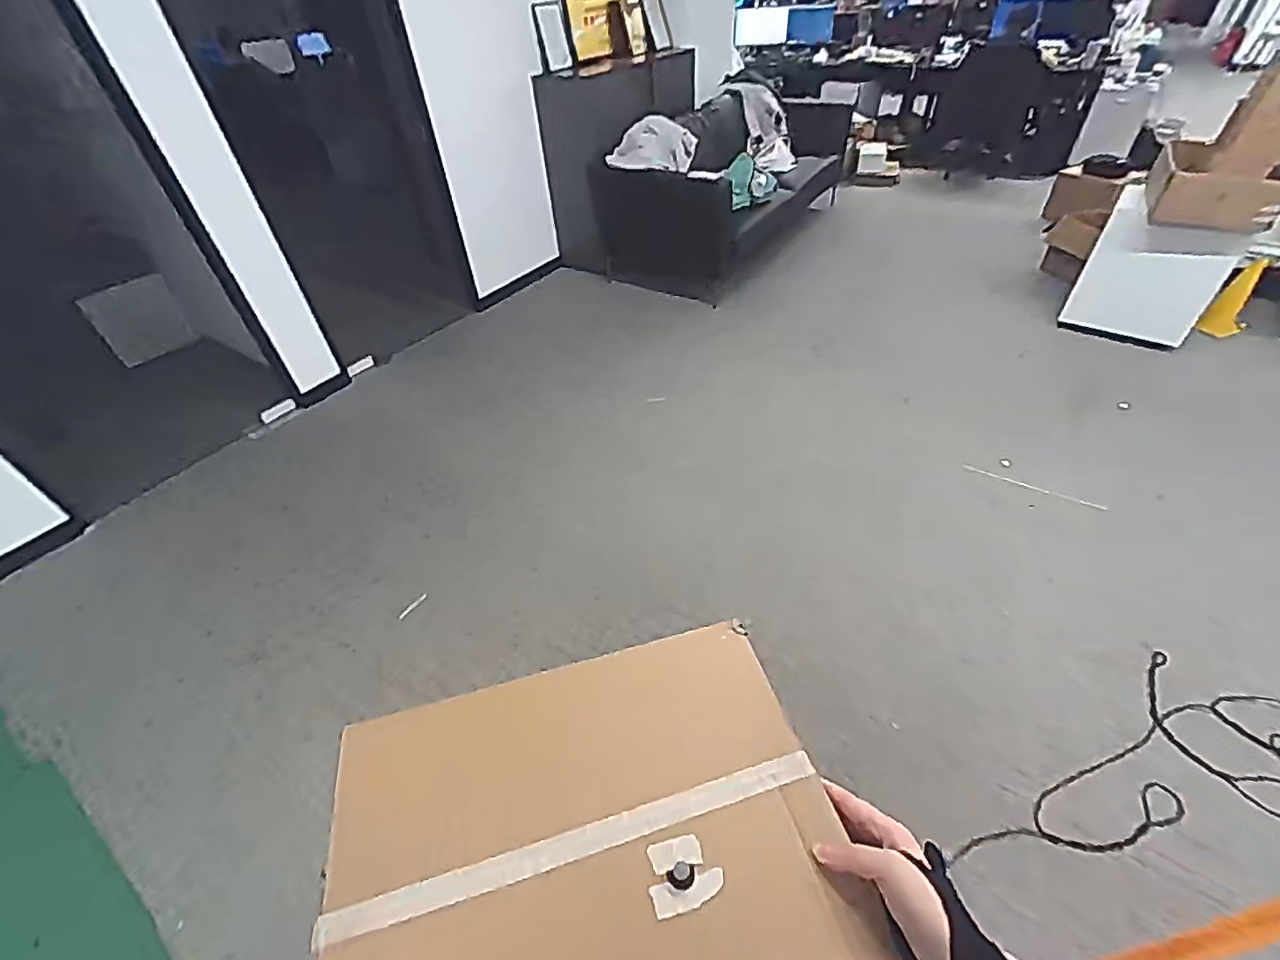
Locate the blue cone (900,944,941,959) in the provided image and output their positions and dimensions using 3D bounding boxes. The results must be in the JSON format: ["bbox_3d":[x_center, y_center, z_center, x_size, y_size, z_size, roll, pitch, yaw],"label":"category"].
[{"bbox_3d":[0.562,0.919,0.923,0.193,0.380,0.192,31,54,33],"label":"blue cone"}]

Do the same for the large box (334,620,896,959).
[{"bbox_3d":[-0.043,0.403,0.555,0.408,0.320,0.320,-11,44,-12],"label":"large box"}]
